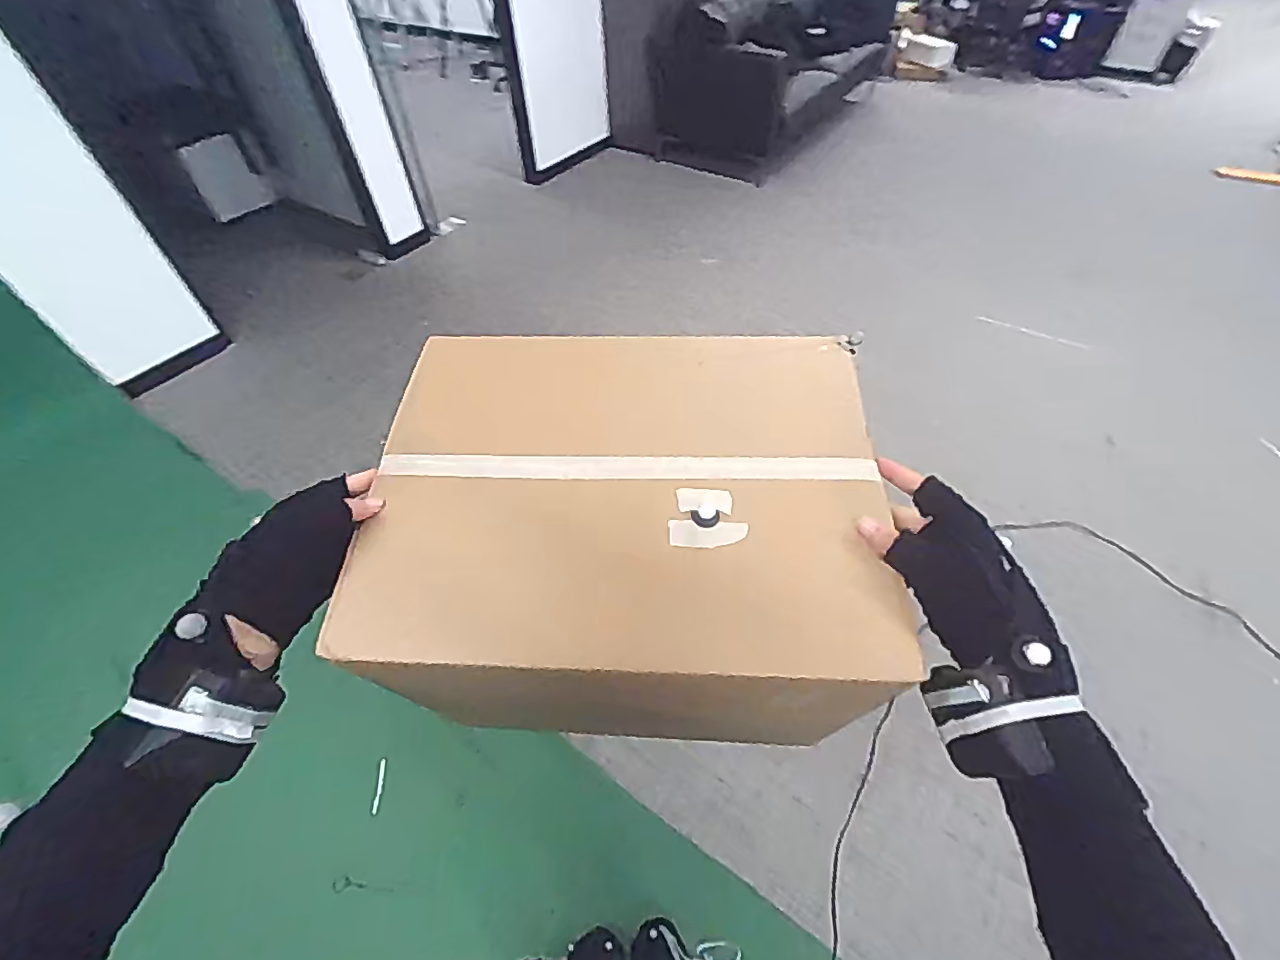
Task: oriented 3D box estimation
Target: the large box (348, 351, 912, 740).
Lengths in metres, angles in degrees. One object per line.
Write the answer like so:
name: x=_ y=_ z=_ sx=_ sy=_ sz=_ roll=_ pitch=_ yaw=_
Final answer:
large box: x=-0.001 y=0.083 z=0.578 sx=0.408 sy=0.320 sz=0.320 roll=1 pitch=58 yaw=4
